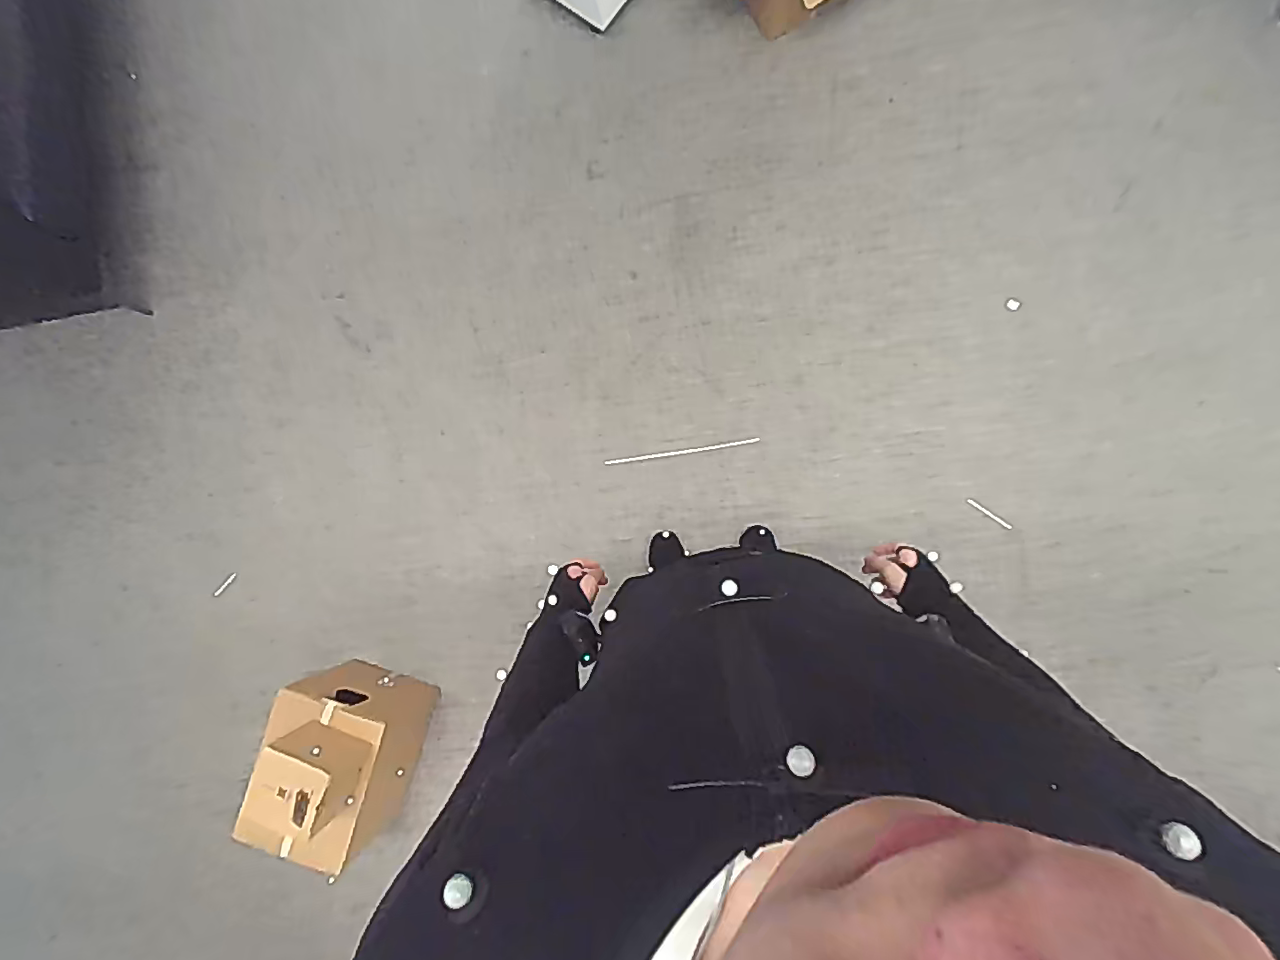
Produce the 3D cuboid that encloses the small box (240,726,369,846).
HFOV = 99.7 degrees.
[{"bbox_3d":[-0.791,0.719,1.295,0.179,0.176,0.168,19,87,5],"label":"small box"}]

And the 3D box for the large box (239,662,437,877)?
[{"bbox_3d":[-0.832,0.788,1.541,0.320,0.320,0.408,15,88,7],"label":"large box"}]
